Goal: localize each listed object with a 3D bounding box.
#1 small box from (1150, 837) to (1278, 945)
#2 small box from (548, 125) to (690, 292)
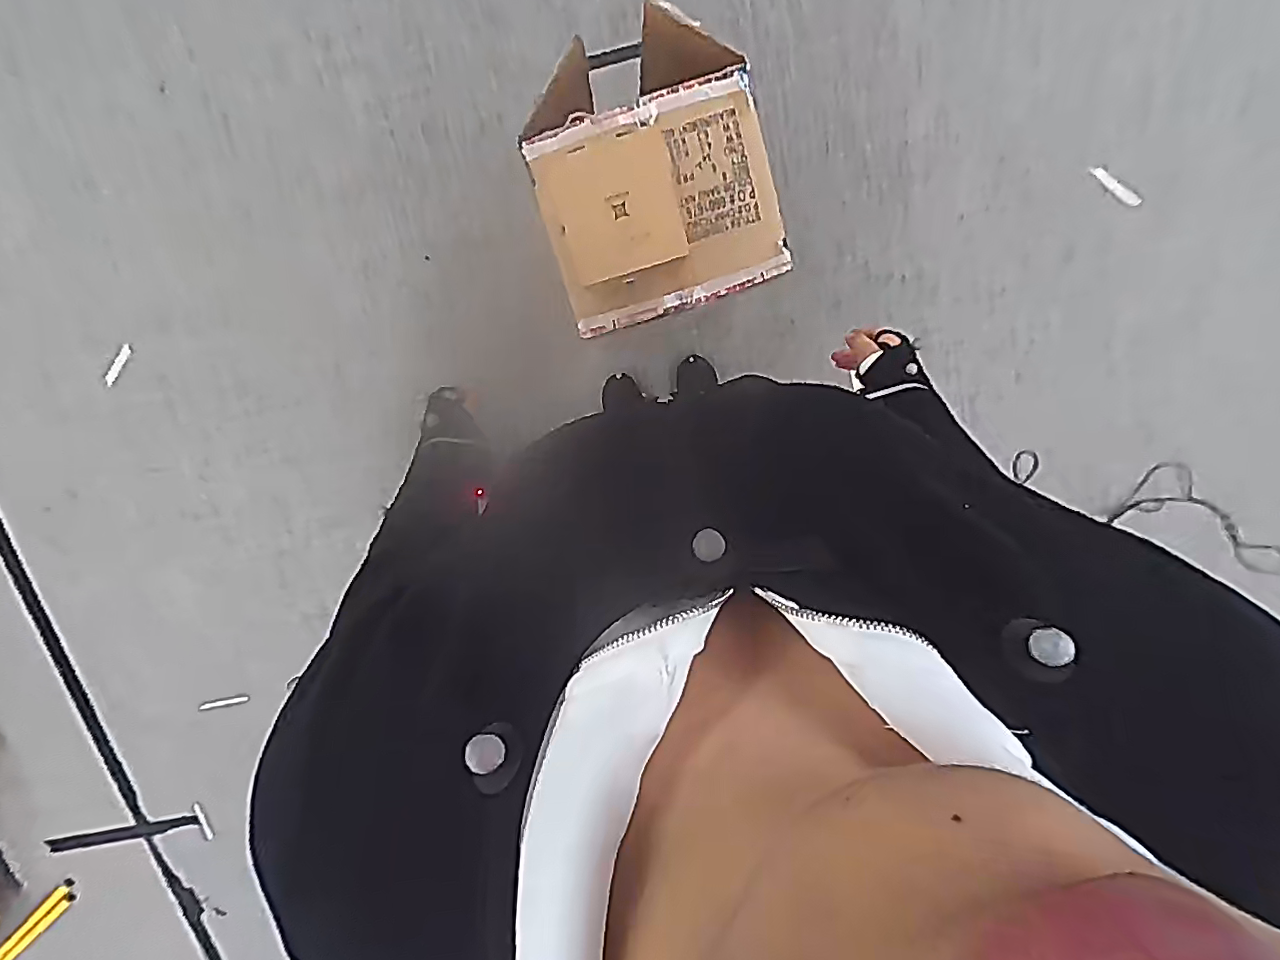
[{"bbox_3d":[1.572,1.128,1.493,0.179,0.176,0.168,-7,103,1],"label":"small box"},{"bbox_3d":[-0.029,-0.404,0.838,0.168,0.176,0.179,-16,106,5],"label":"small box"}]
